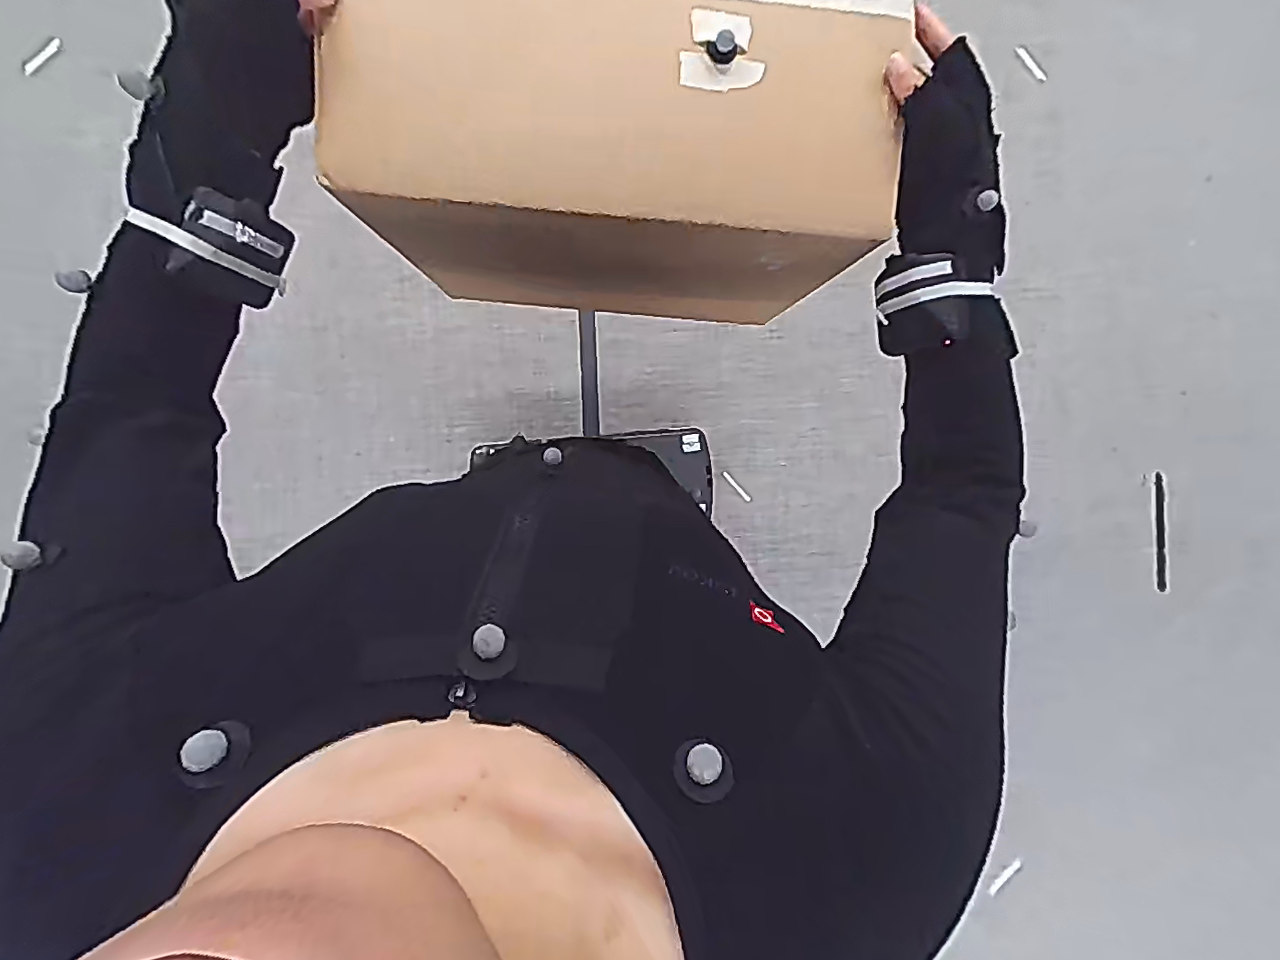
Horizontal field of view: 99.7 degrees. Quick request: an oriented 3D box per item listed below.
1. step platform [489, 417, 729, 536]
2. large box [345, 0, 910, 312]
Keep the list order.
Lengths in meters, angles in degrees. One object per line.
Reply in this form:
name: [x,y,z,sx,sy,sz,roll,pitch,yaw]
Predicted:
step platform: [-0.087,-0.013,1.577,0.684,0.204,0.286,-6,94,-3]
large box: [-0.013,-0.363,0.527,0.408,0.320,0.320,3,96,-4]
